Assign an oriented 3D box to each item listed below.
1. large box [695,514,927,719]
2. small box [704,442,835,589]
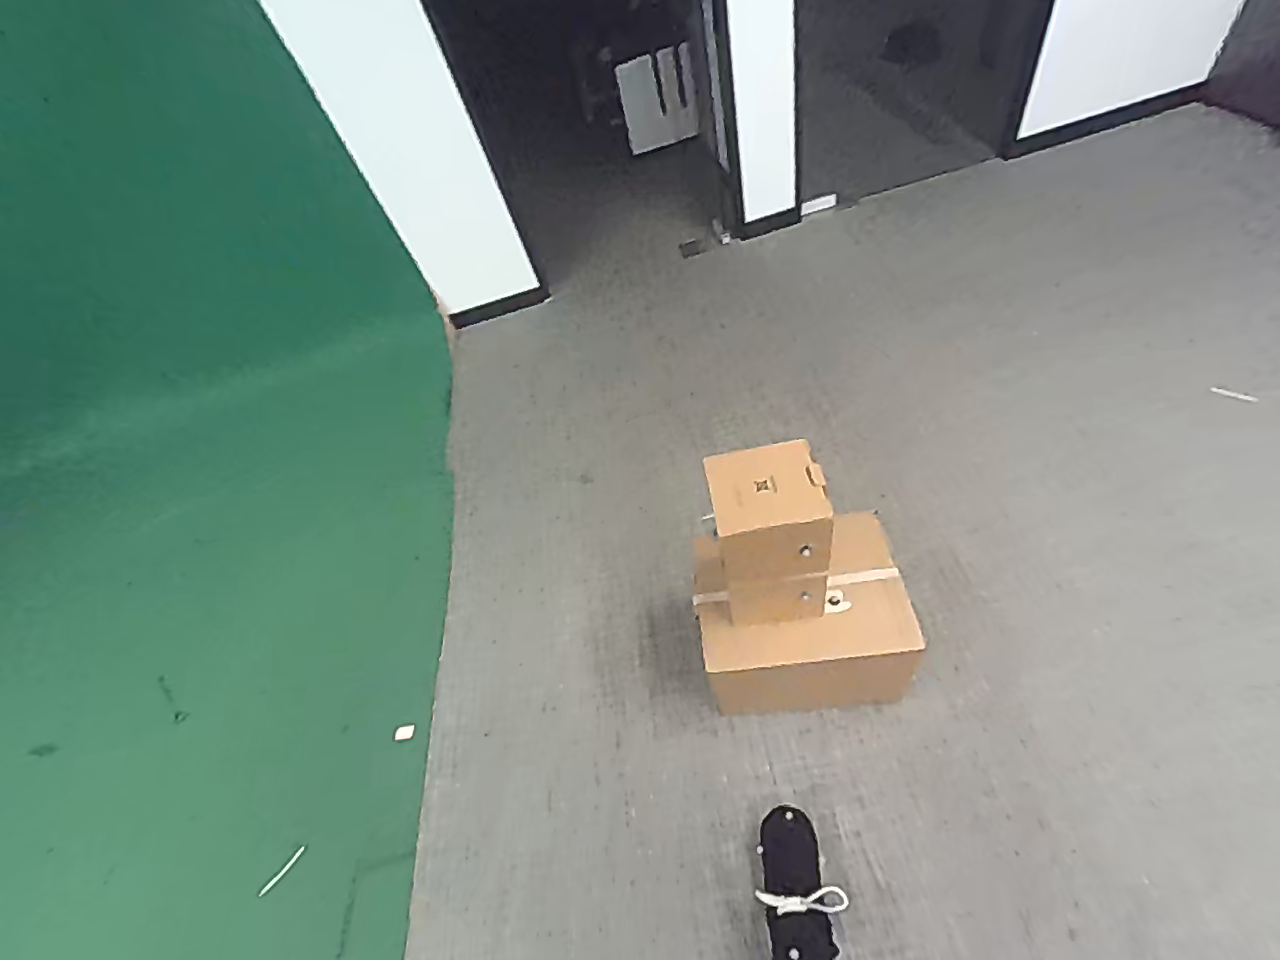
[{"bbox_3d":[0.353,0.316,1.211,0.408,0.320,0.320,-10,51,8],"label":"large box"},{"bbox_3d":[0.216,0.065,0.917,0.179,0.176,0.168,-13,48,7],"label":"small box"}]
